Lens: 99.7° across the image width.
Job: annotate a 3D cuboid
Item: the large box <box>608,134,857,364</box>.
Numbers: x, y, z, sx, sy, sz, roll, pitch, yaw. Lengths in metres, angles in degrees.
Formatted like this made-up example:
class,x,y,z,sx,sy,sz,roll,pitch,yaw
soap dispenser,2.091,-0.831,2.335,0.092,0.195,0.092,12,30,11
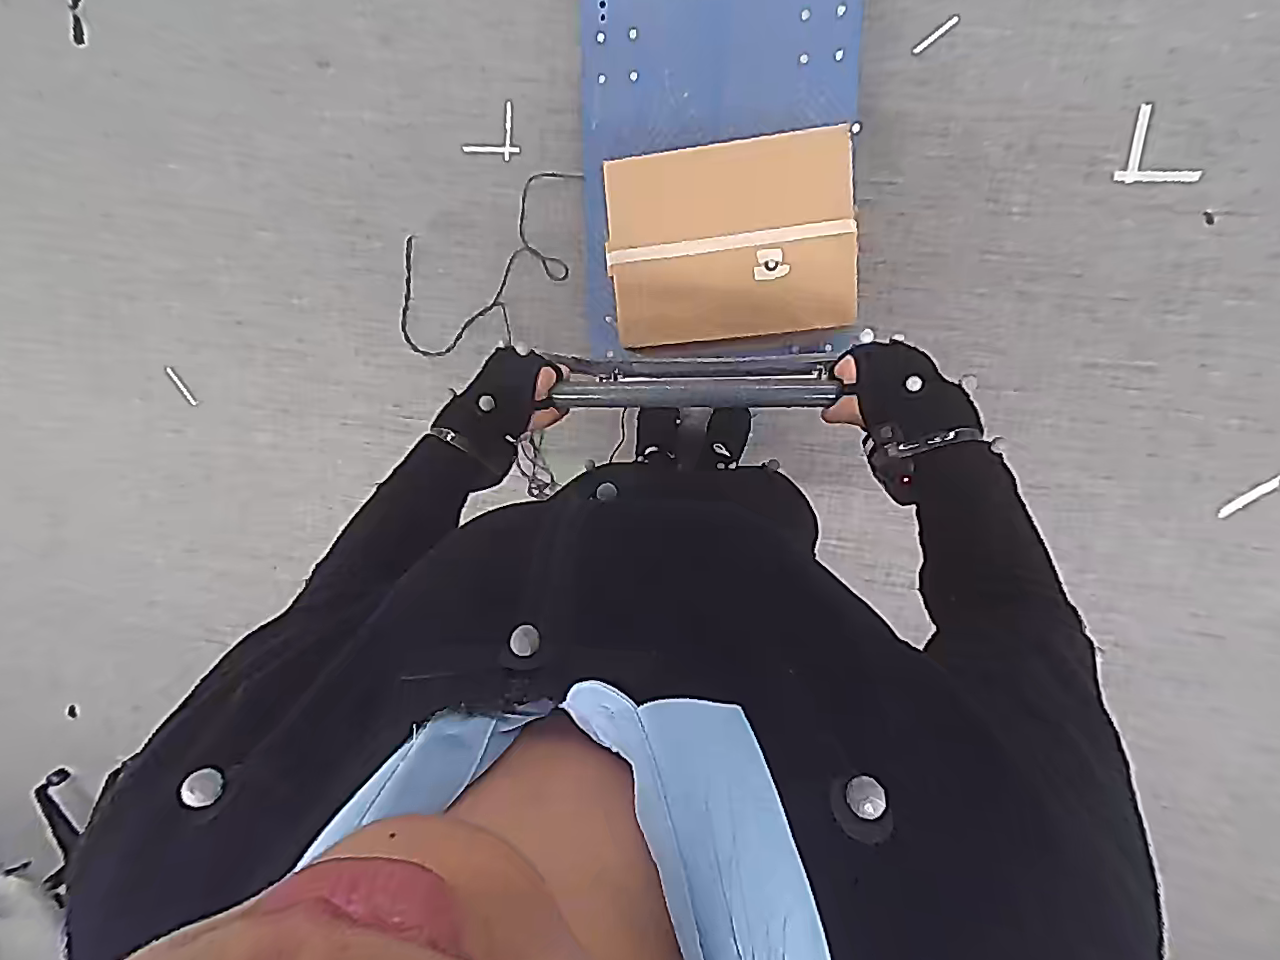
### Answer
class,x,y,z,sx,sy,sz,roll,pitch,yaw
large box,0.173,-0.414,1.064,0.408,0.320,0.320,-4,99,8
